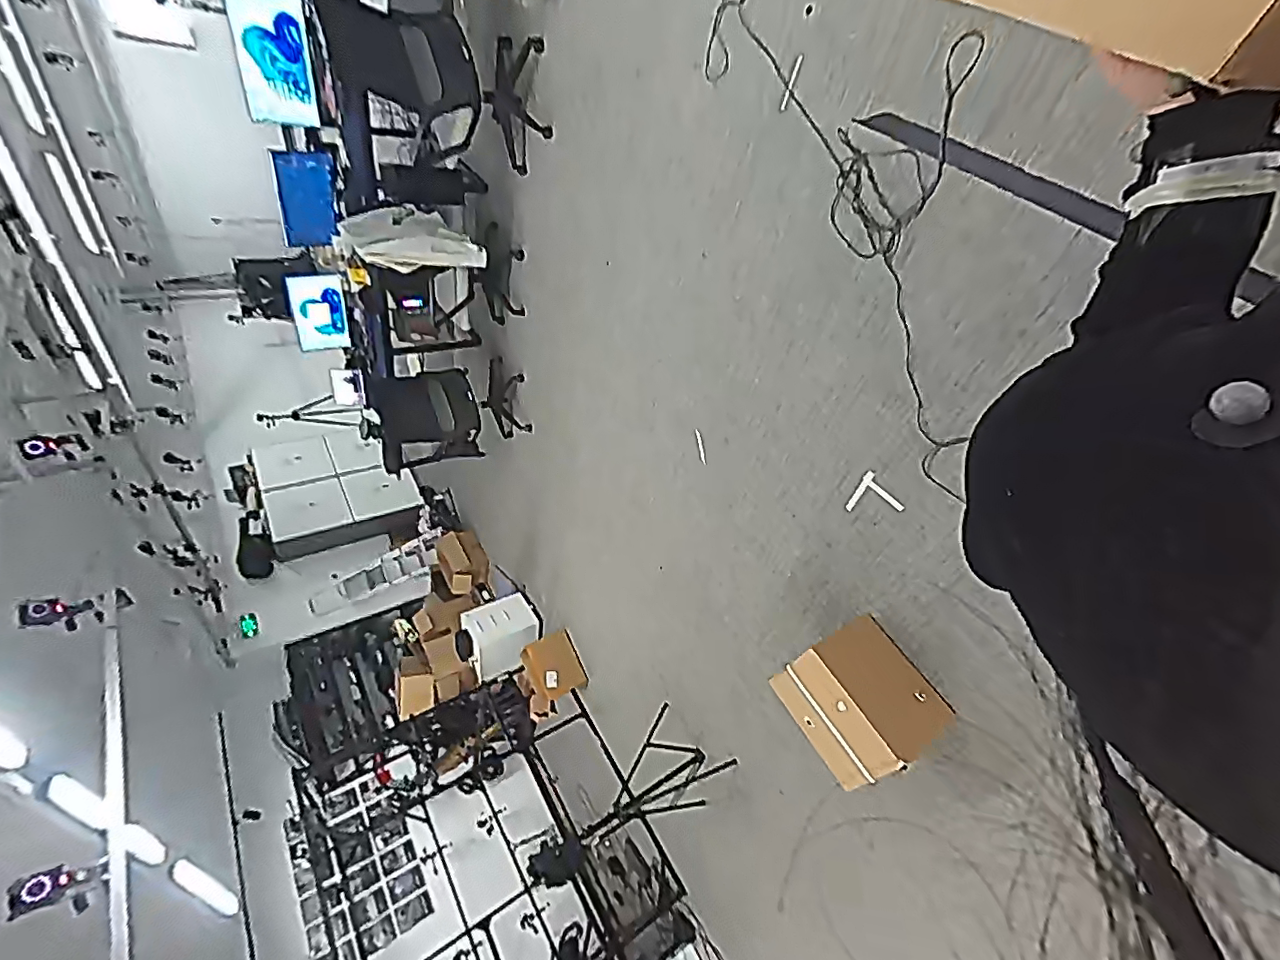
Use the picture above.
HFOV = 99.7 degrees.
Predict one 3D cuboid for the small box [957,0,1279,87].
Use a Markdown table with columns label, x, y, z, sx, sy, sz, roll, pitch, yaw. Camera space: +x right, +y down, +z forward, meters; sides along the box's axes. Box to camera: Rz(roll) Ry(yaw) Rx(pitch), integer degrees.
| label | x | y | z | sx | sy | sz | roll | pitch | yaw |
| --- | --- | --- | --- | --- | --- | --- | --- | --- | --- |
| small box | 0.297 | -0.309 | 0.252 | 0.179 | 0.176 | 0.168 | 59 | 153 | 33 |
